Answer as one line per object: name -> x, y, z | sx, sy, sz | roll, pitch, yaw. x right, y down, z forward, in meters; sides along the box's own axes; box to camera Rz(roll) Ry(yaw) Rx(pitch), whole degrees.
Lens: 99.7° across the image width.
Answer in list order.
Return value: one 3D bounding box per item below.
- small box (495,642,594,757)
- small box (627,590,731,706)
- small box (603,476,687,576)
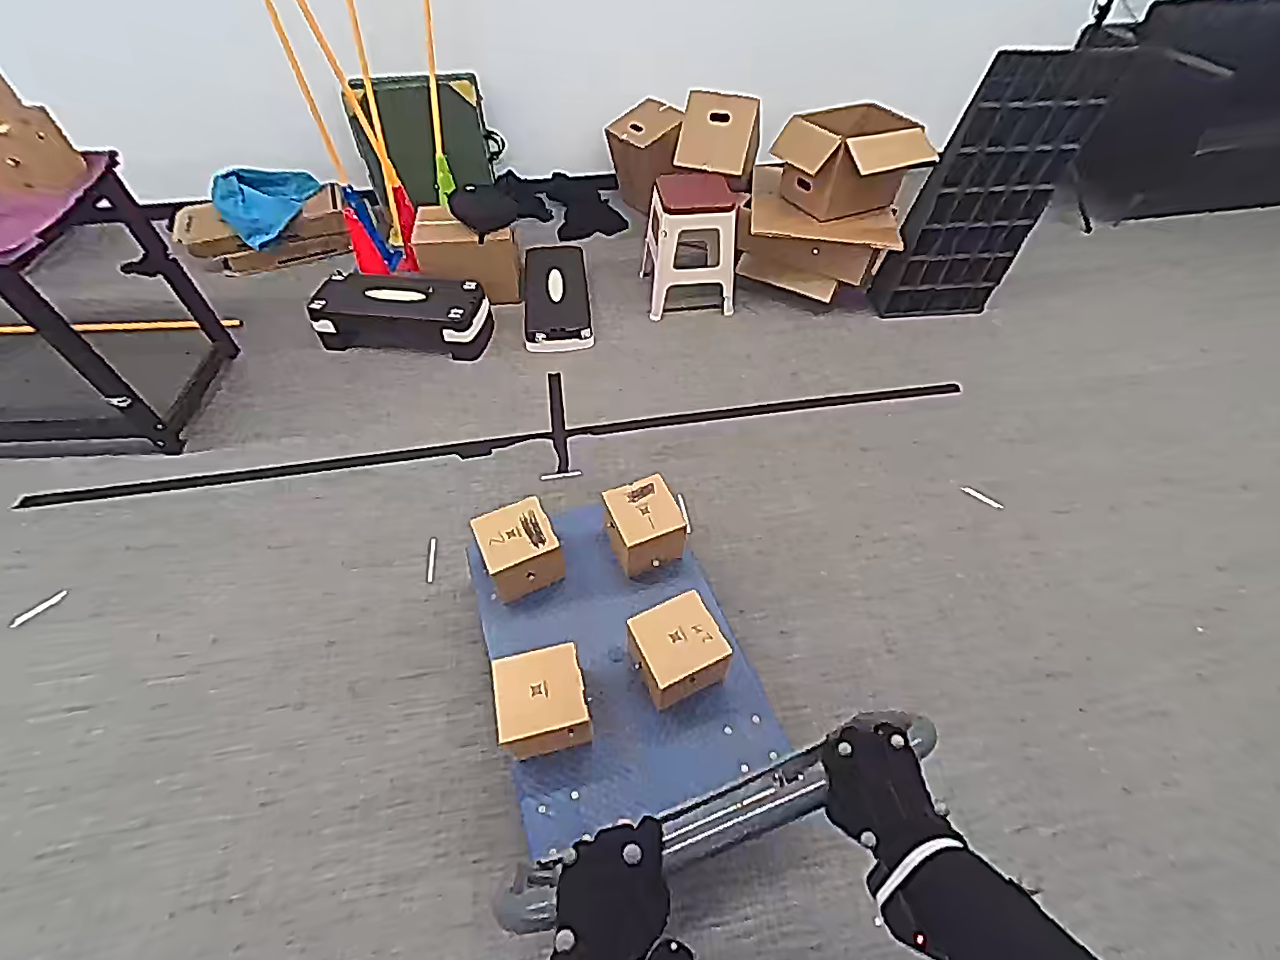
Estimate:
small box -> -0.202, 0.473, 1.158 | 0.179, 0.176, 0.168 | -11, 54, -11
small box -> 0.084, 0.385, 1.227 | 0.179, 0.176, 0.168 | -21, 56, -16
small box -> 0.008, 0.123, 1.427 | 0.168, 0.176, 0.179 | -19, 56, -15
